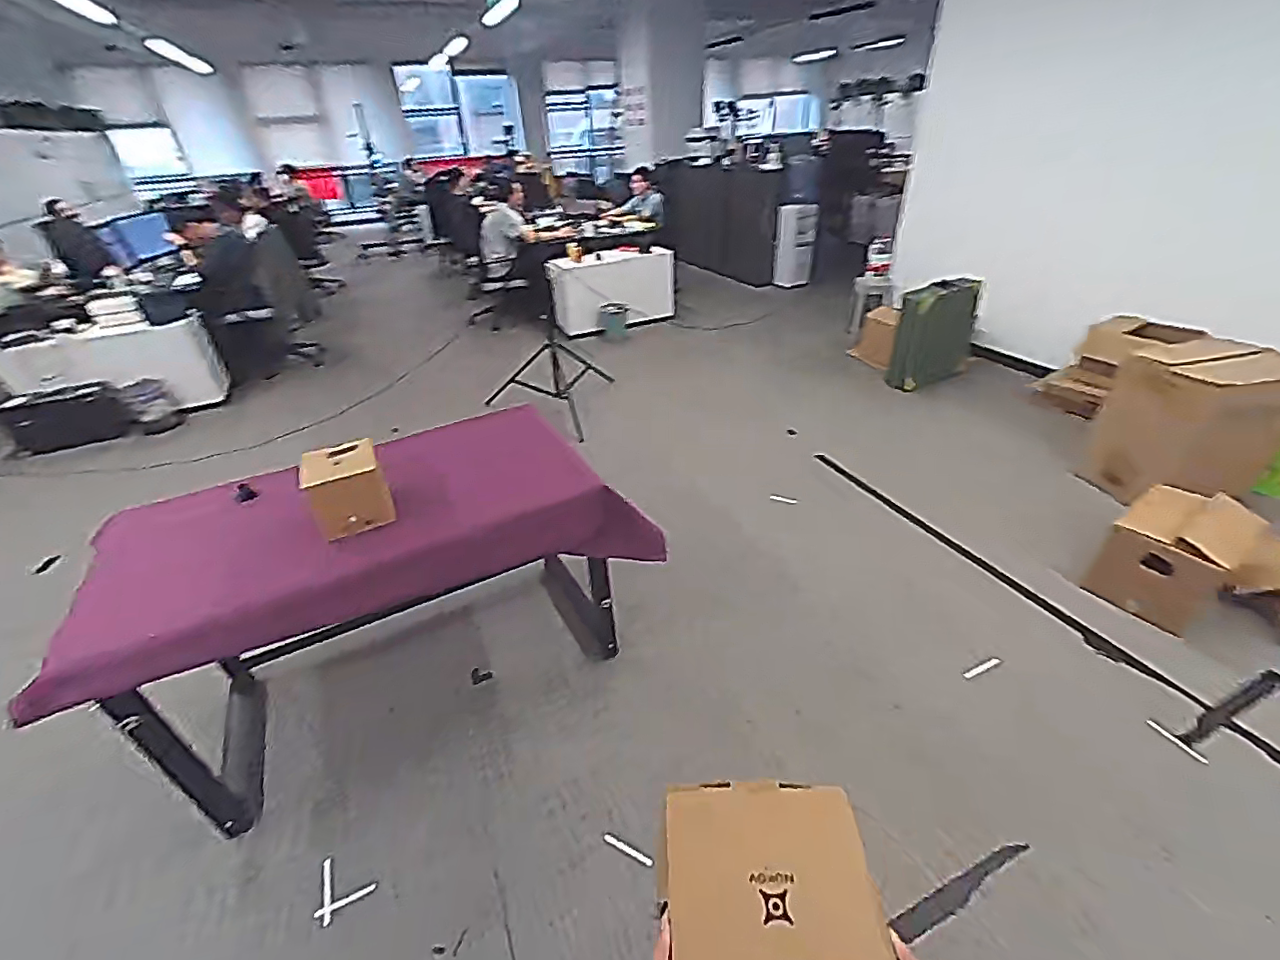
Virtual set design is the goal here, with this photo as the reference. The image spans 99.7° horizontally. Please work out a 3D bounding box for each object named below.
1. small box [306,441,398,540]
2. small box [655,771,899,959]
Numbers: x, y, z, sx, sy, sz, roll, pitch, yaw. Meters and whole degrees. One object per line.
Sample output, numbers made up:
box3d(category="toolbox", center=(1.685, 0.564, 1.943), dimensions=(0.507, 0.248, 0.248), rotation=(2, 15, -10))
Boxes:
box3d(category="small box", center=(-0.739, 0.026, 1.393), dimensions=(0.168, 0.176, 0.179), rotation=(-18, 37, -21))
box3d(category="small box", center=(0.101, 0.382, 0.467), dimensions=(0.168, 0.176, 0.179), rotation=(1, 35, -2))
